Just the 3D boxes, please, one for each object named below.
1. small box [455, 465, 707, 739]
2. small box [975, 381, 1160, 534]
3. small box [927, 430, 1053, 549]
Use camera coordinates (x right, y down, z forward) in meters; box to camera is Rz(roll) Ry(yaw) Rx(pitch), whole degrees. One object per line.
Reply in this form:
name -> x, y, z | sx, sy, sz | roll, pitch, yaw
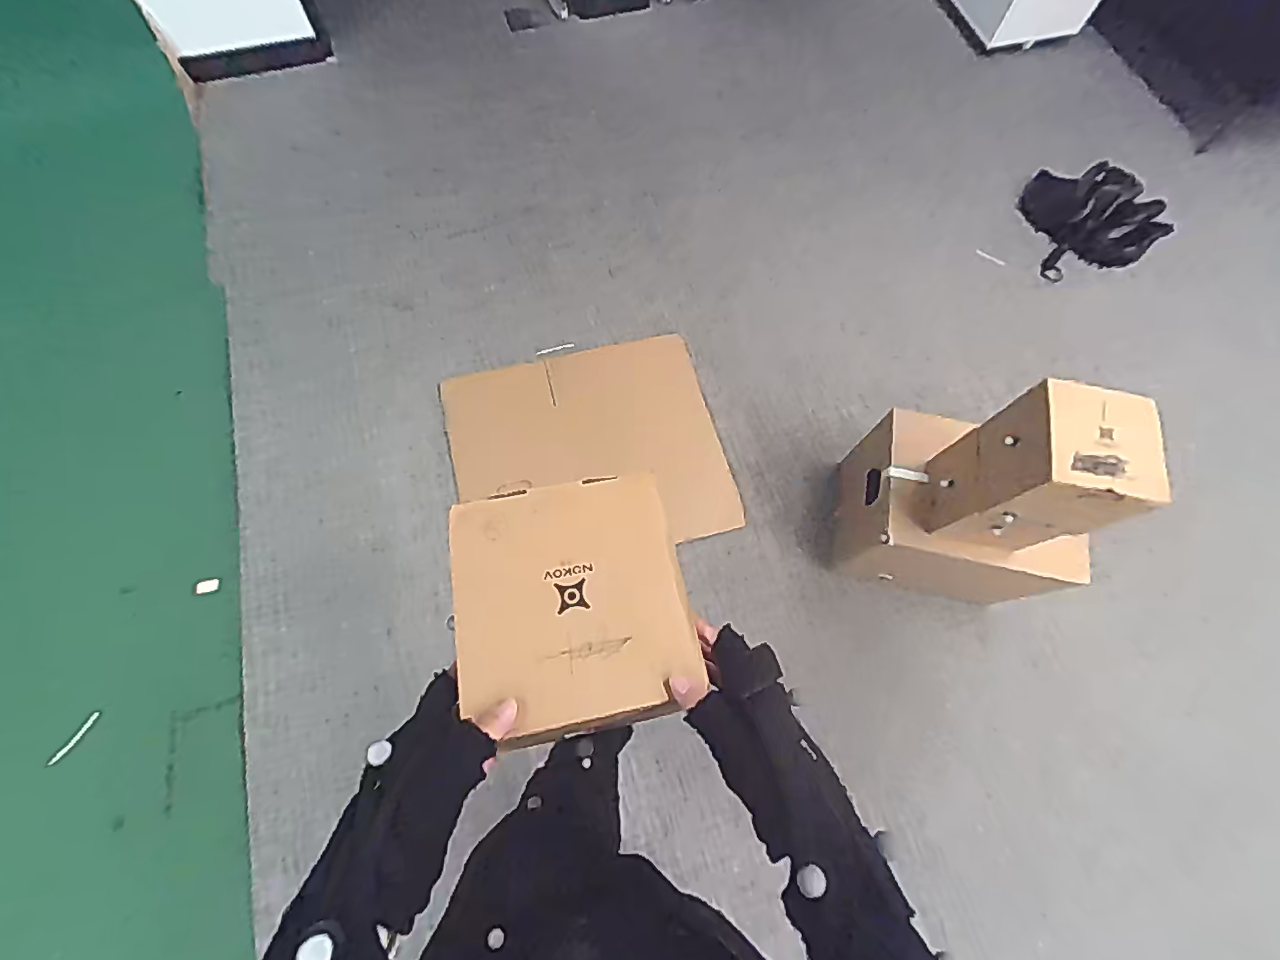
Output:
small box -> -0.054, 0.112, 0.470 | 0.168, 0.176, 0.179 | -11, 64, -8
small box -> 0.666, -0.028, 0.865 | 0.168, 0.176, 0.179 | 13, 68, 3
small box -> 0.668, 0.025, 1.024 | 0.179, 0.176, 0.168 | 8, 67, 0
